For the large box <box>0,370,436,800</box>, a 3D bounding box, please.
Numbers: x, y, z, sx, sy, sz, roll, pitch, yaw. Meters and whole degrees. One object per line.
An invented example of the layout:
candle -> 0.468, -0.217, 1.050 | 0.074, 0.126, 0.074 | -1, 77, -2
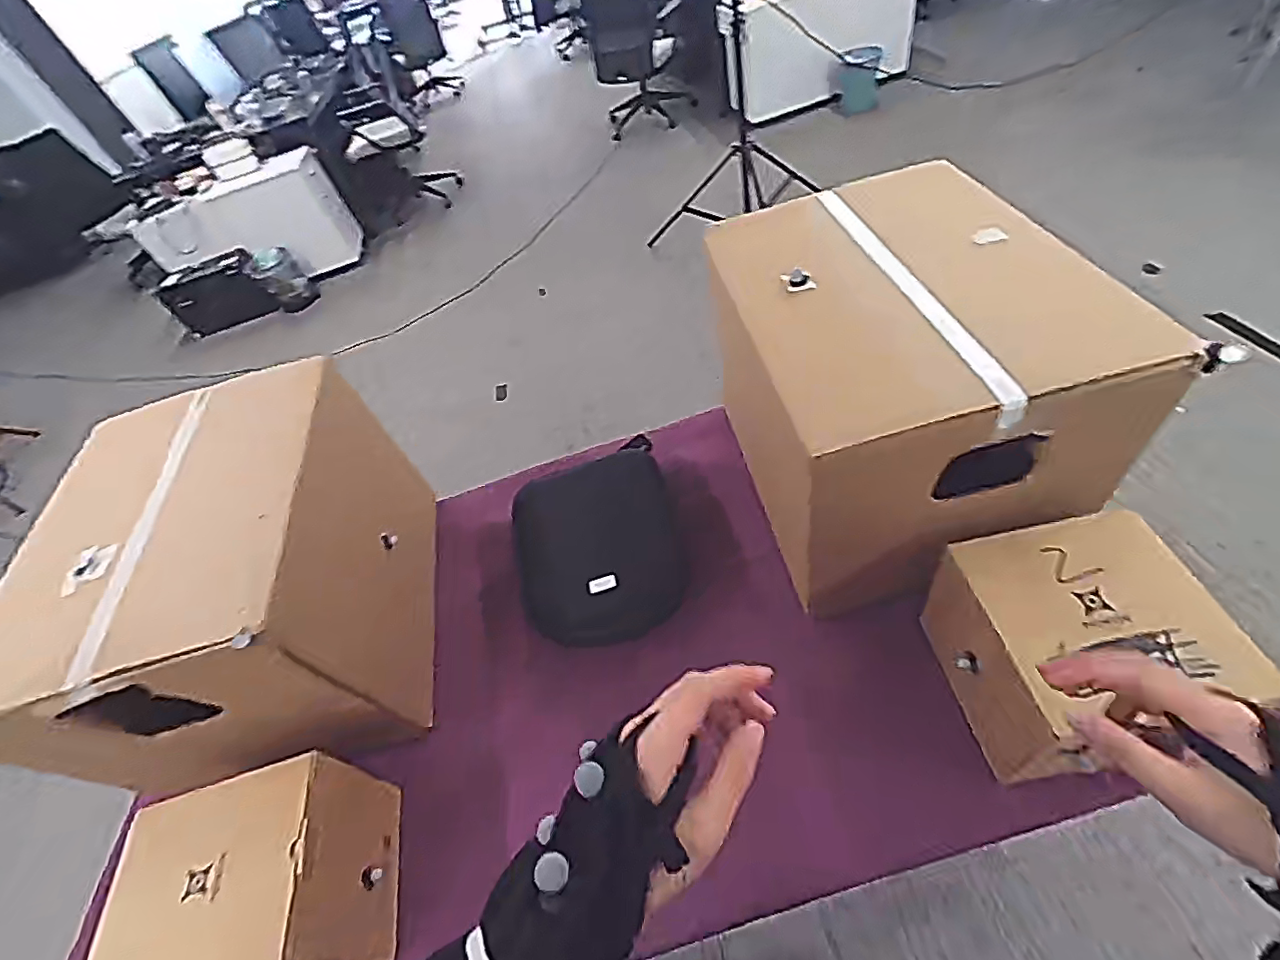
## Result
large box -> -0.482, 0.132, 0.701 | 0.320, 0.320, 0.408 | -18, 51, 0
